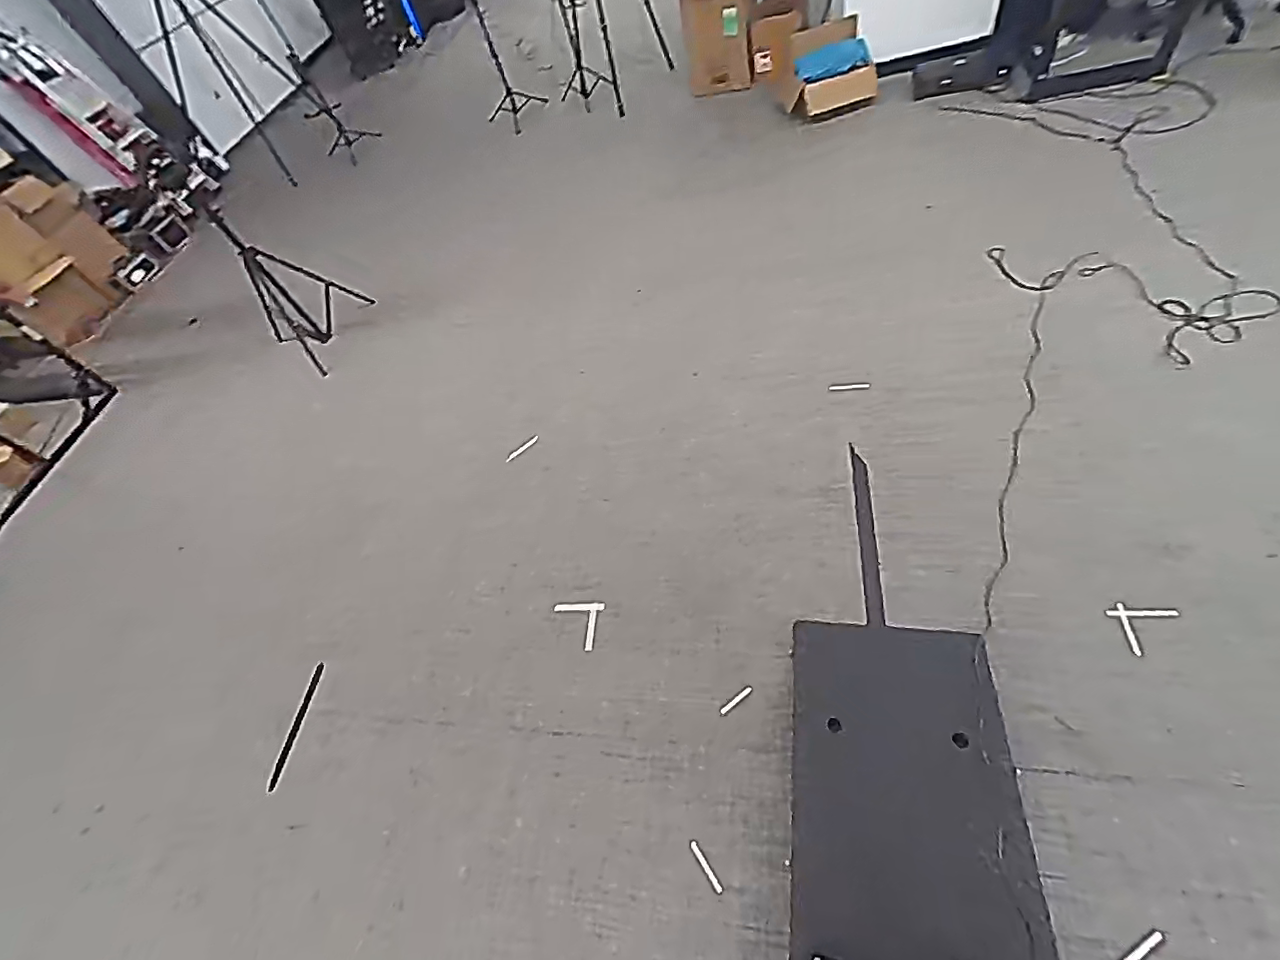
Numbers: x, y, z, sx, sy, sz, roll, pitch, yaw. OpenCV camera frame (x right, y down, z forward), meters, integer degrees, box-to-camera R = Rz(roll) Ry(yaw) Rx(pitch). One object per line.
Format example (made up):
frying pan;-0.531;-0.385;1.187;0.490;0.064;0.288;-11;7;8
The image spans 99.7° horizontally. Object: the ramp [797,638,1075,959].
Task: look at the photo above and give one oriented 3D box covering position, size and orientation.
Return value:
ramp;0.608;0.805;1.187;0.509;0.206;0.991;-4;53;17
